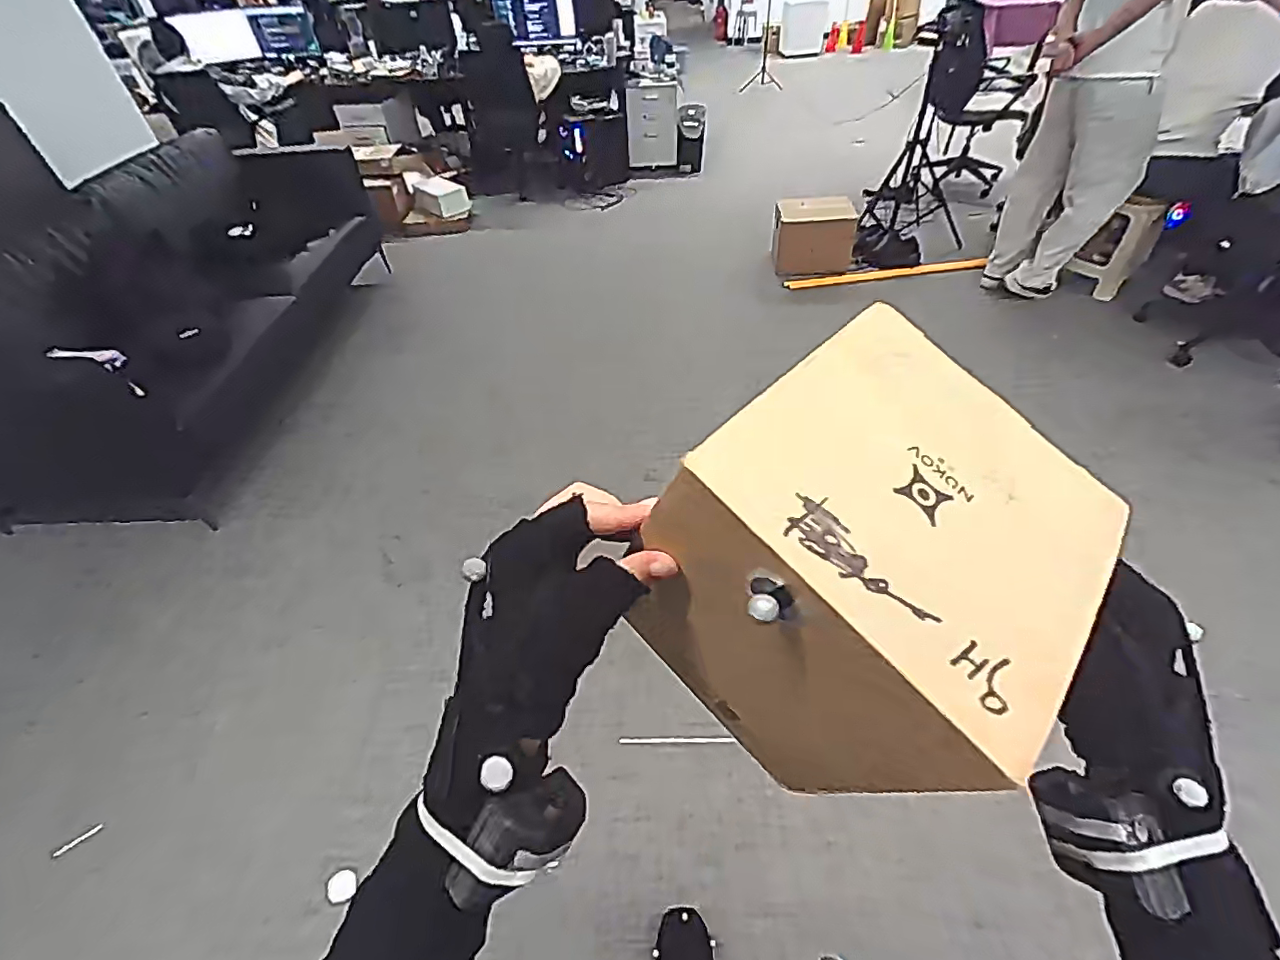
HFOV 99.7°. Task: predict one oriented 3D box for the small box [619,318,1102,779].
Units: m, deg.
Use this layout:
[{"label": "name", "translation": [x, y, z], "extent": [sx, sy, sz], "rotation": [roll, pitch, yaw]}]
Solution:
[{"label": "small box", "translation": [0.111, 0.044, 0.322], "extent": [0.168, 0.176, 0.179], "rotation": [44, 57, 12]}]
